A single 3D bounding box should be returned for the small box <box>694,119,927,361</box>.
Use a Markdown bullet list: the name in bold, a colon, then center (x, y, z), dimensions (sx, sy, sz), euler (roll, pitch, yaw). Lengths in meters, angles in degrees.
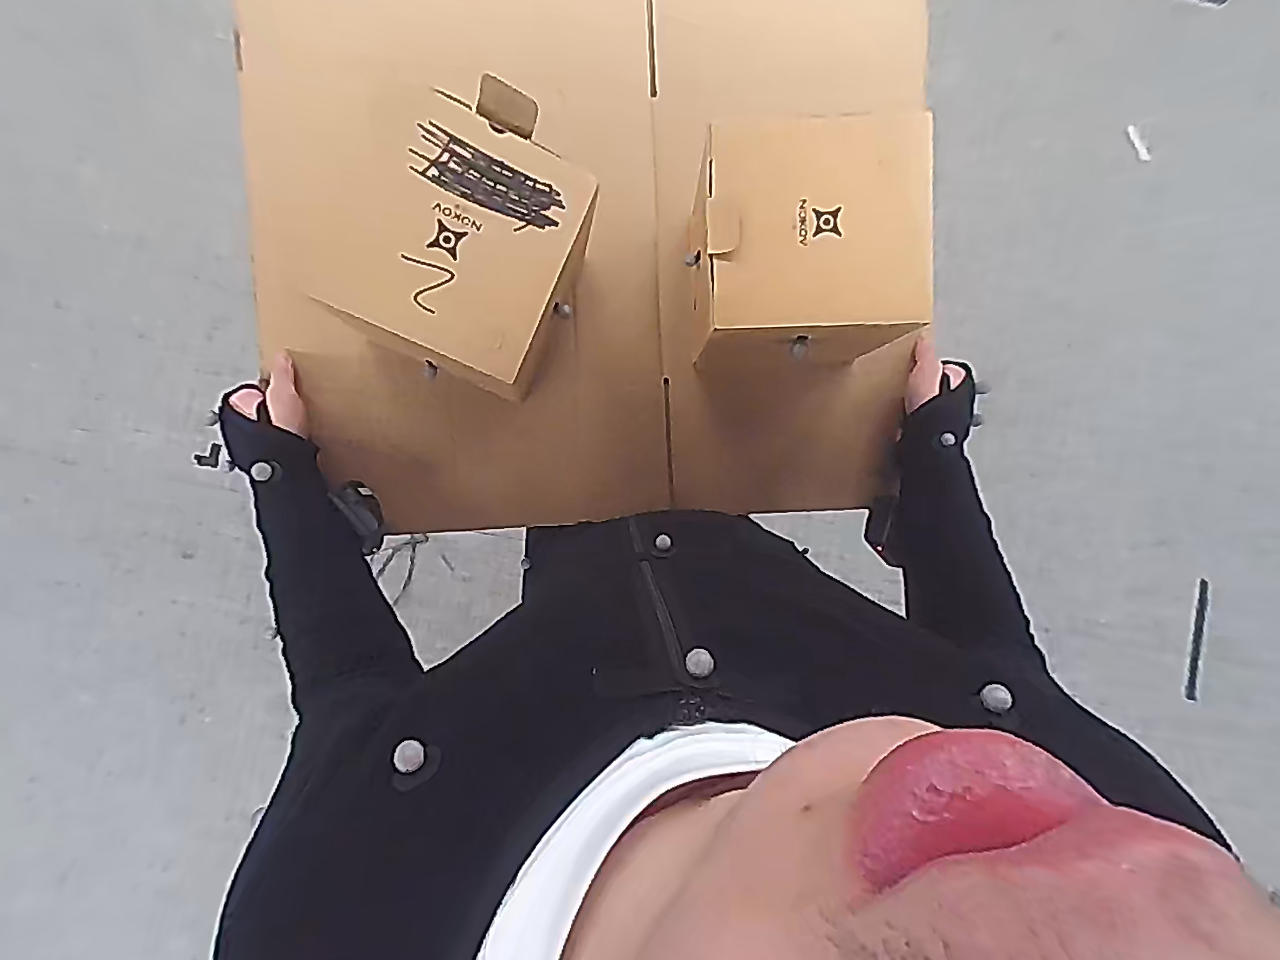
- **small box**: center (0.147, -0.212, 0.520), dimensions (0.179, 0.176, 0.168), euler (-2, 92, 2)
